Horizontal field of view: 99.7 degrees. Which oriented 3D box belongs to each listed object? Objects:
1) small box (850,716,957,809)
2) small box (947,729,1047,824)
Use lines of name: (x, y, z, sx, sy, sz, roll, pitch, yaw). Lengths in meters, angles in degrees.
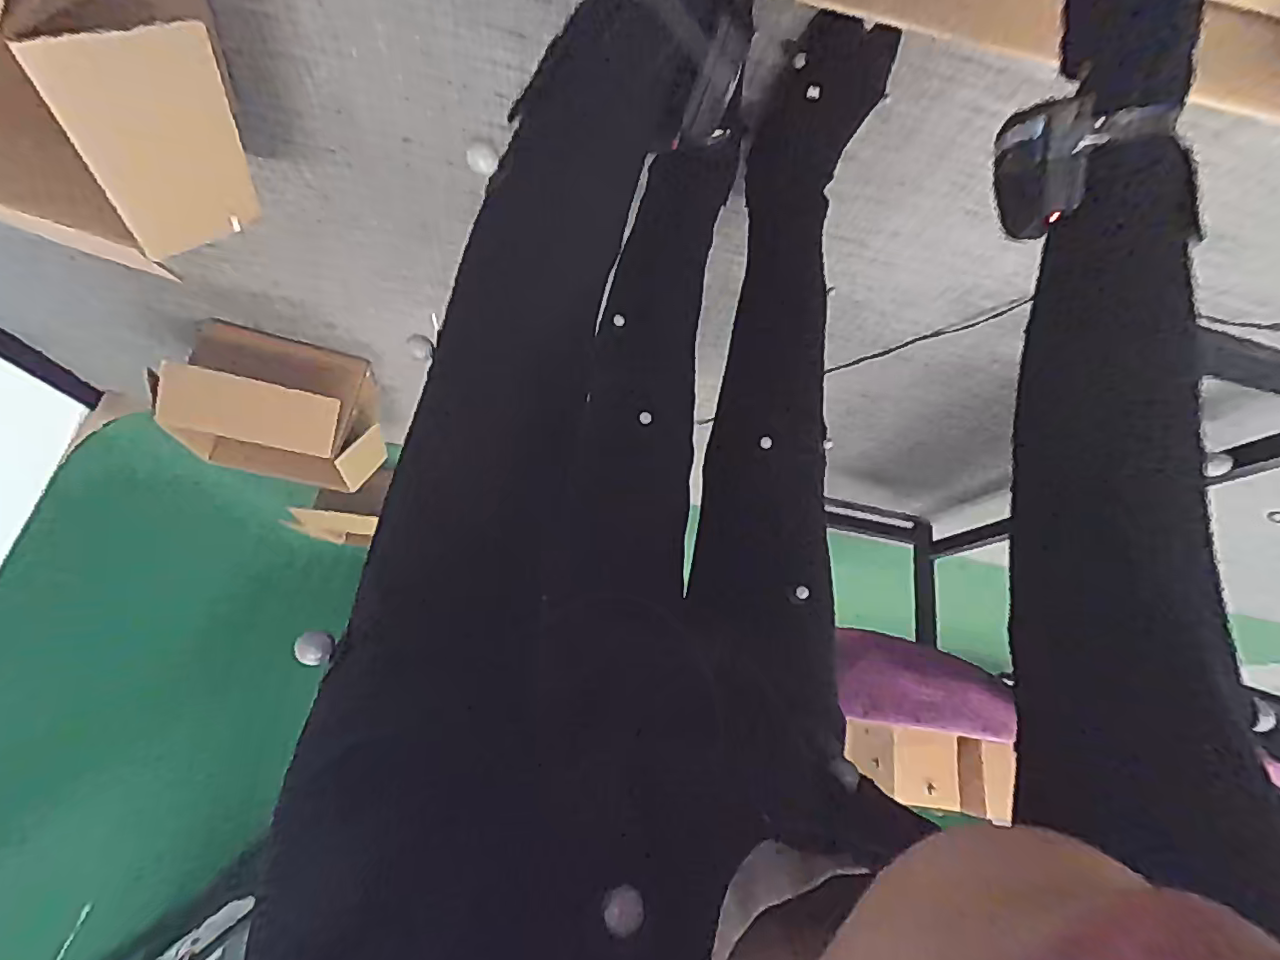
small box: (0.638, 0.683, 1.324, 0.179, 0.176, 0.168, 14, 158, -11)
small box: (0.858, 0.725, 1.339, 0.179, 0.176, 0.168, 13, 159, -9)
